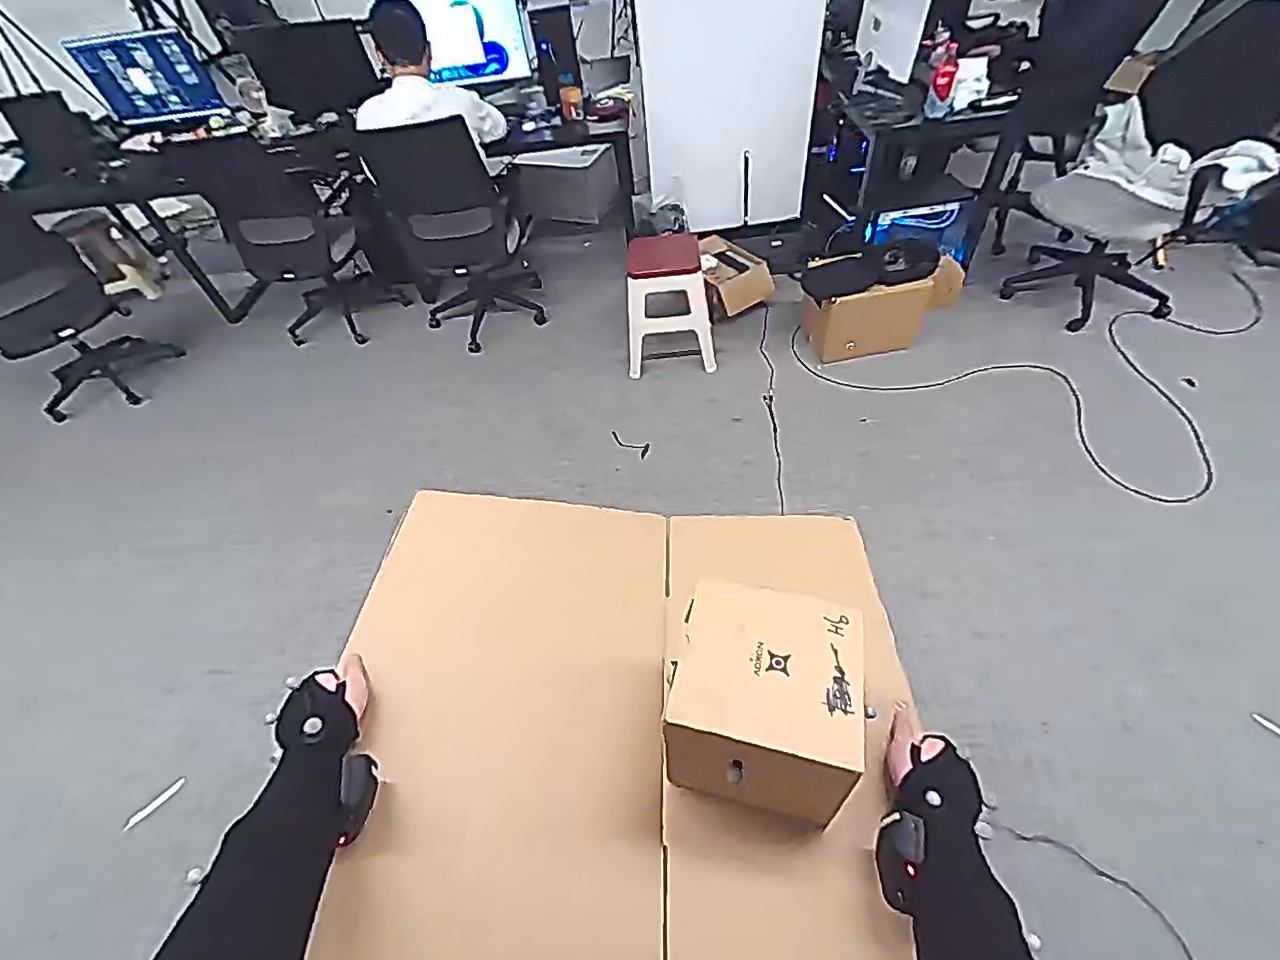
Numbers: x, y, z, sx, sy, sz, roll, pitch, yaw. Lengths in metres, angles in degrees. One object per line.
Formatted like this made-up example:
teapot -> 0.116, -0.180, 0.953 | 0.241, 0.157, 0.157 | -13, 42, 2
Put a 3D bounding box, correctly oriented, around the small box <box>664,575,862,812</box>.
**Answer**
small box -> 0.134, 0.231, 0.587 | 0.179, 0.176, 0.168 | 8, 46, 15
